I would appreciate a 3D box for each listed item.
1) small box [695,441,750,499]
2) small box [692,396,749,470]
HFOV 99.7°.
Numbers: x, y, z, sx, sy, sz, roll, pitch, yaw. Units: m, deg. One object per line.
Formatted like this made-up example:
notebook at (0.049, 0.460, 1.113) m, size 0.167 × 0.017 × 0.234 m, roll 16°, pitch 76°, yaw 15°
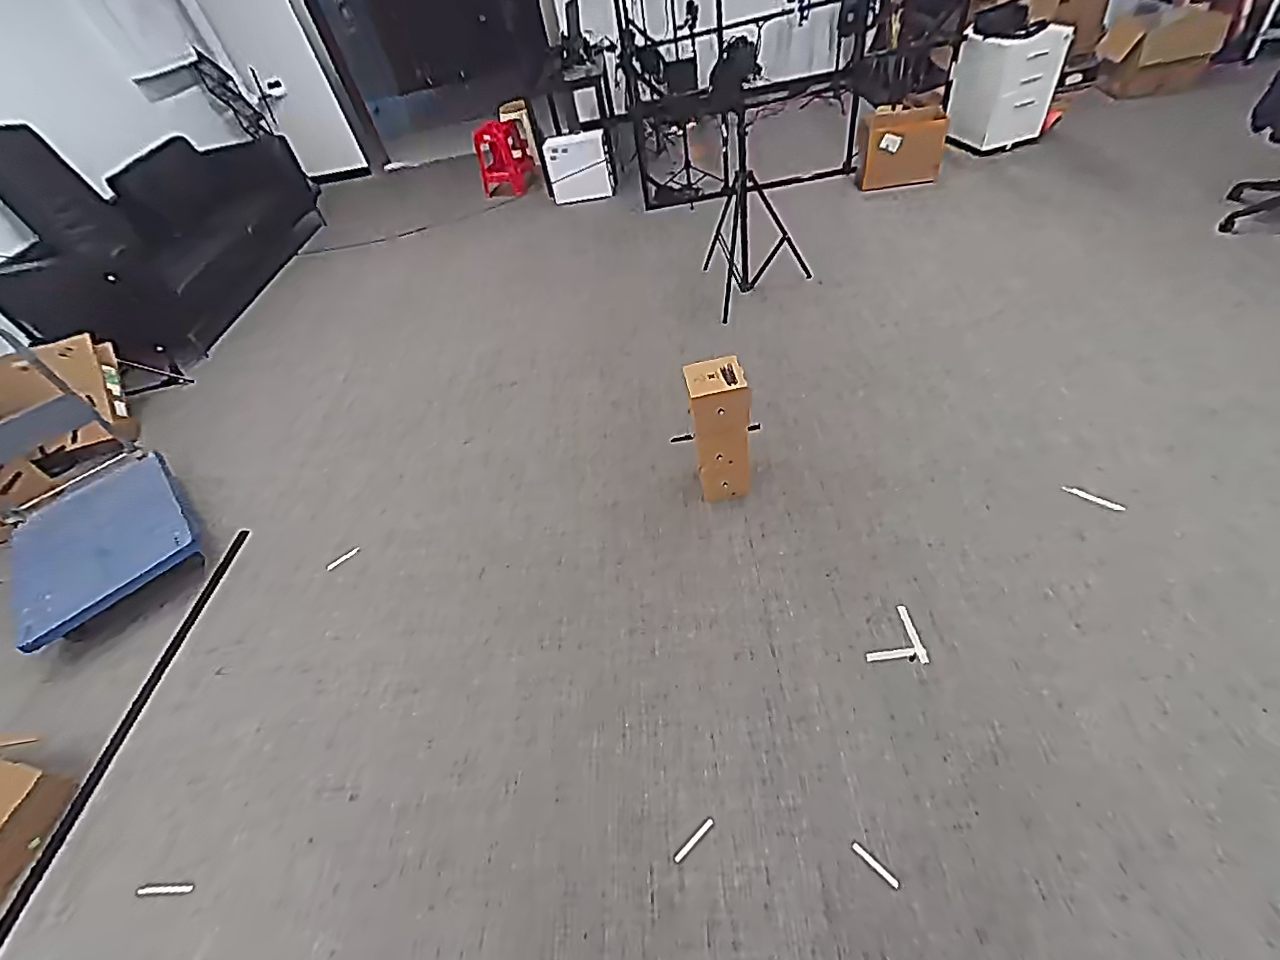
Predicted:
small box at (0.299, -0.047, 1.947) m, size 0.168 × 0.176 × 0.179 m, roll -10°, pitch 46°, yaw 3°
small box at (0.271, -0.157, 1.831) m, size 0.168 × 0.176 × 0.179 m, roll -10°, pitch 47°, yaw 4°
